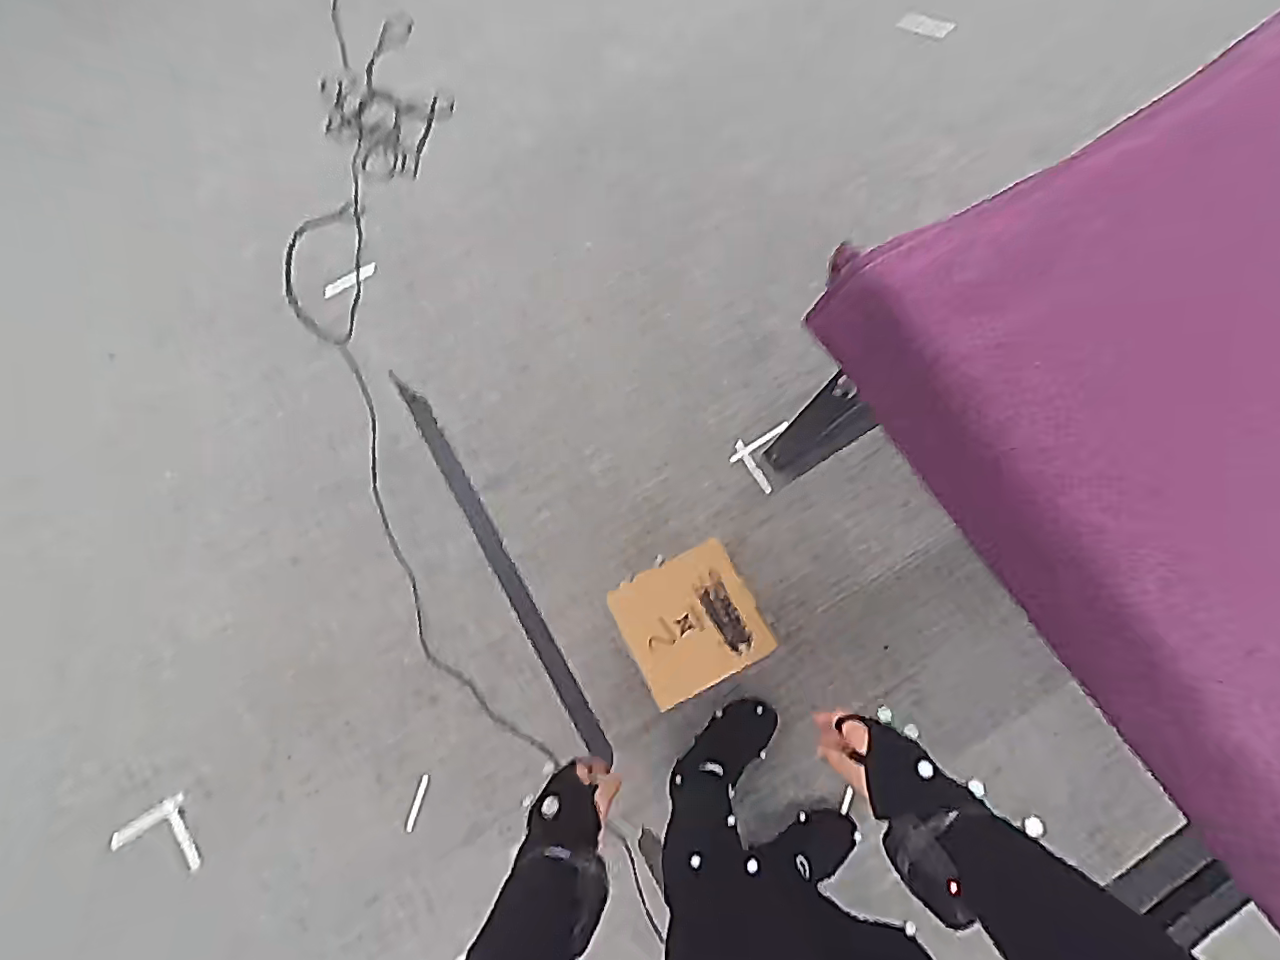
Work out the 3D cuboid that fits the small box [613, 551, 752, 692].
[{"bbox_3d":[0.069,0.238,0.950,0.179,0.176,0.168,-30,81,-3],"label":"small box"}]
